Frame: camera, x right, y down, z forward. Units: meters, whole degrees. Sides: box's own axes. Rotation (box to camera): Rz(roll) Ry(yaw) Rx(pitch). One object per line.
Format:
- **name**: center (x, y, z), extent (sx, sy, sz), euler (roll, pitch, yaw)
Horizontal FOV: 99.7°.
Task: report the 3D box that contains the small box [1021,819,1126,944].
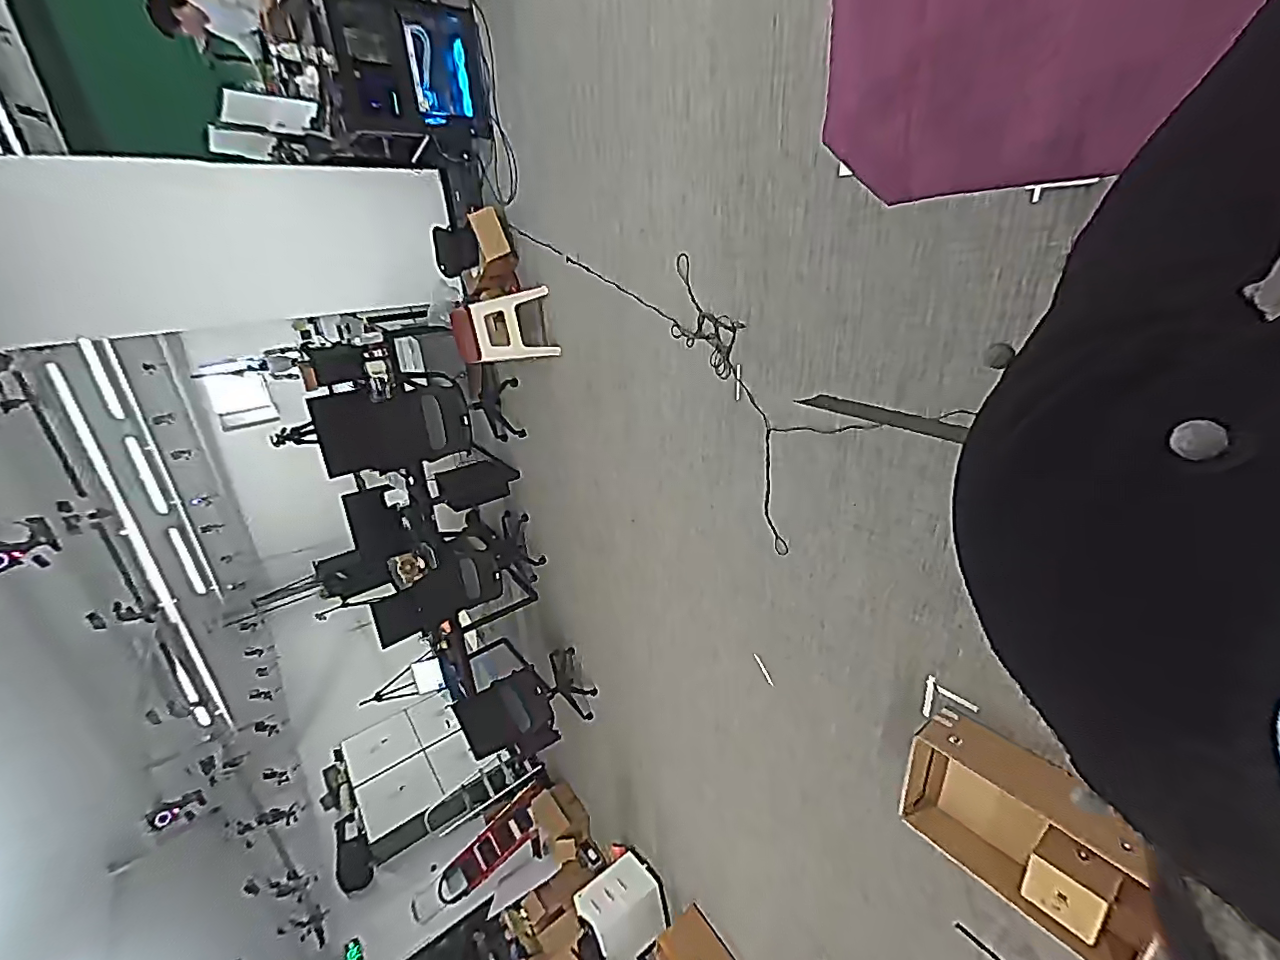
- **small box**: center (1.166, 1.069, 1.455), extent (0.168, 0.176, 0.179), euler (24, 126, 50)
